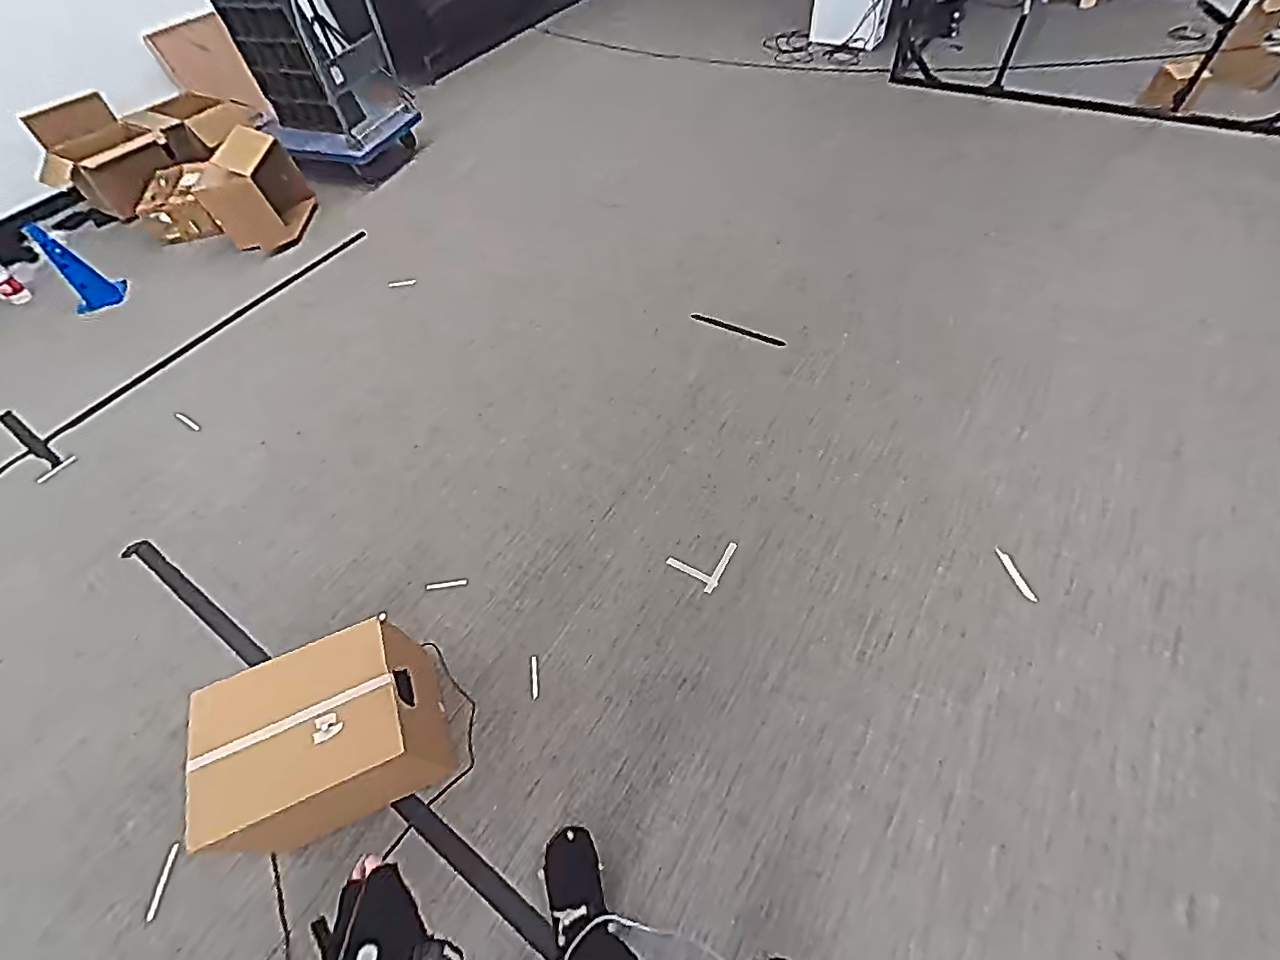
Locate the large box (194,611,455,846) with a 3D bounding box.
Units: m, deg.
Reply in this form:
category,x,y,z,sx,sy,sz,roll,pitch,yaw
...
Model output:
category,x,y,z,sx,sy,sz,roll,pitch,yaw
large box,-0.692,0.567,1.229,0.408,0.320,0.320,-21,57,-11
